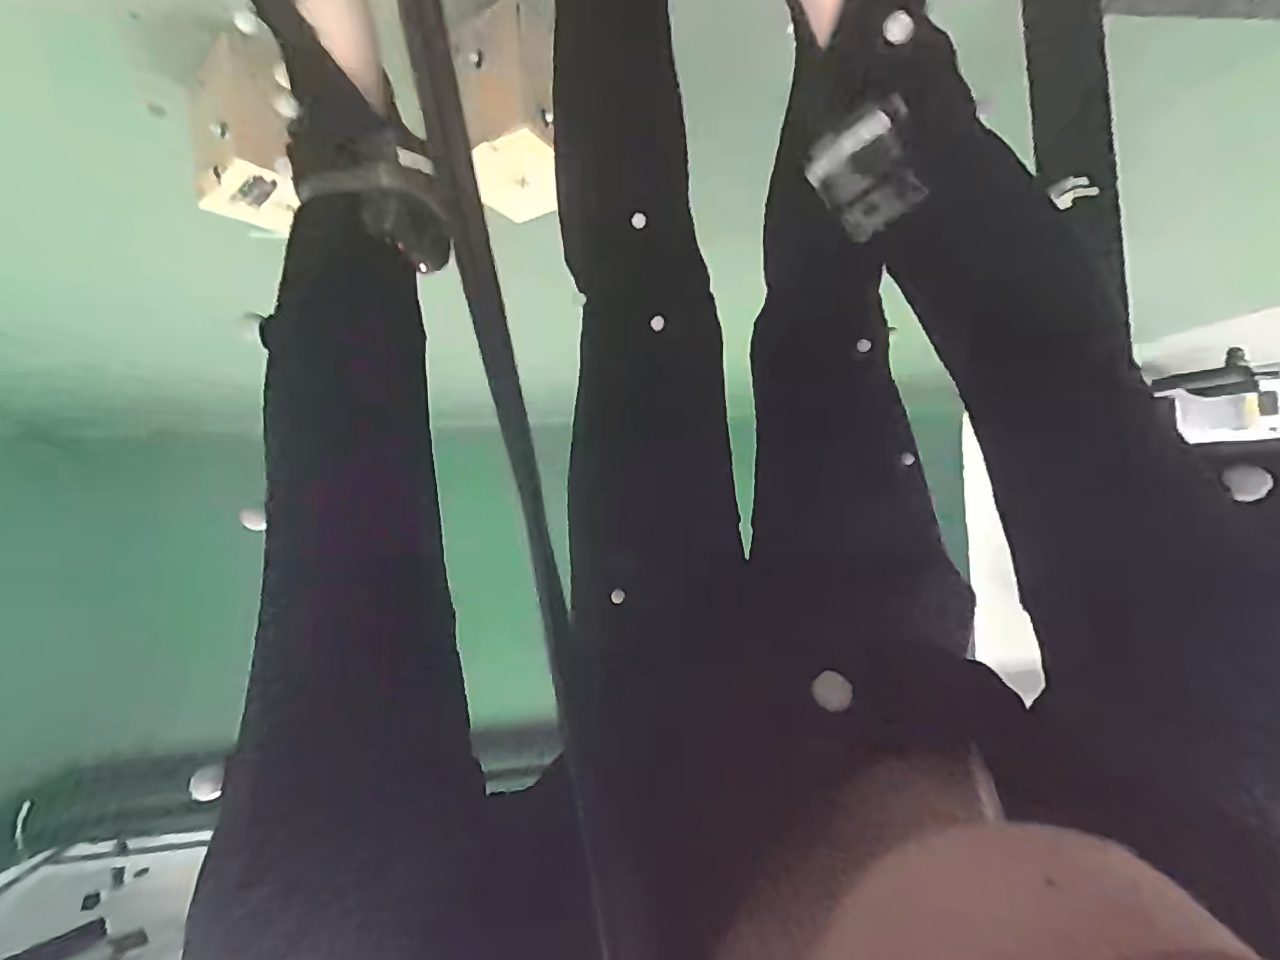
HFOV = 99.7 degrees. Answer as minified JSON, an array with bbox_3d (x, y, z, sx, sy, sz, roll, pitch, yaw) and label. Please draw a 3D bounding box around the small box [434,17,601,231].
[{"bbox_3d":[-0.171,-0.494,0.776,0.168,0.176,0.179,-5,177,29],"label":"small box"}]
